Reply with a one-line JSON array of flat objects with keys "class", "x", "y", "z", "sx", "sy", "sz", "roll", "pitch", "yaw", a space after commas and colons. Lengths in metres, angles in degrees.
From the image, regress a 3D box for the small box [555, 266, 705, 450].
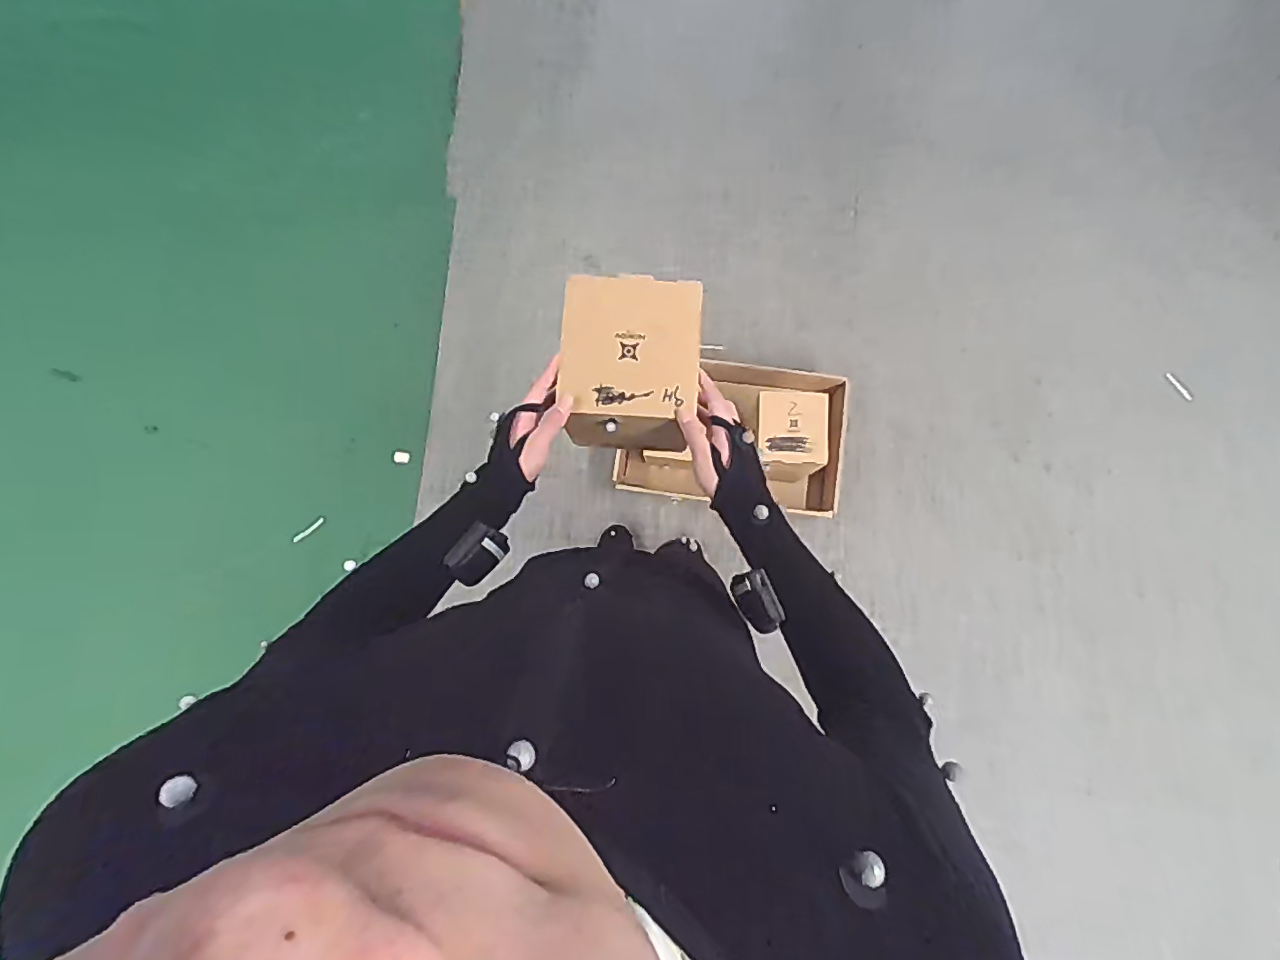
[{"class": "small box", "x": -0.010, "y": -0.148, "z": 0.701, "sx": 0.168, "sy": 0.176, "sz": 0.179, "roll": 3, "pitch": 79, "yaw": 1}]
